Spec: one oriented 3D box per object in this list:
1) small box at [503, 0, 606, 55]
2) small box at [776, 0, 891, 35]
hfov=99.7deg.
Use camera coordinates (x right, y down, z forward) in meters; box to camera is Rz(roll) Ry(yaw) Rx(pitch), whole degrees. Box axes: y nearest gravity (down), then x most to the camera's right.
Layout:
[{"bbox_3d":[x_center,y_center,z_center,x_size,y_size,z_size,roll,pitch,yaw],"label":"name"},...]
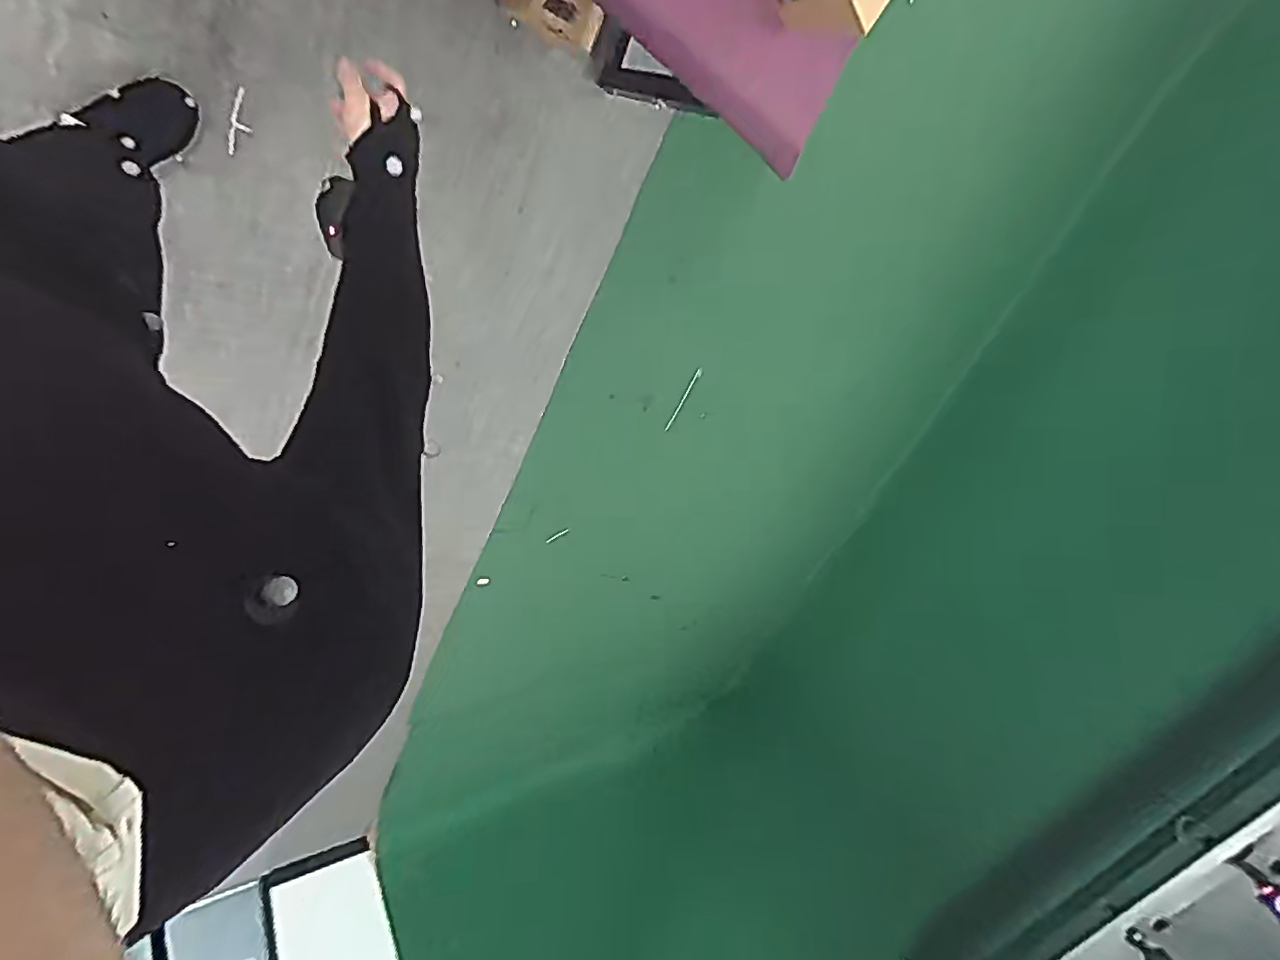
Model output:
[{"bbox_3d":[-0.191,-1.106,1.219,0.168,0.176,0.179,2,122,-43],"label":"small box"},{"bbox_3d":[0.284,-0.781,0.763,0.168,0.176,0.179,20,110,-48],"label":"small box"}]
